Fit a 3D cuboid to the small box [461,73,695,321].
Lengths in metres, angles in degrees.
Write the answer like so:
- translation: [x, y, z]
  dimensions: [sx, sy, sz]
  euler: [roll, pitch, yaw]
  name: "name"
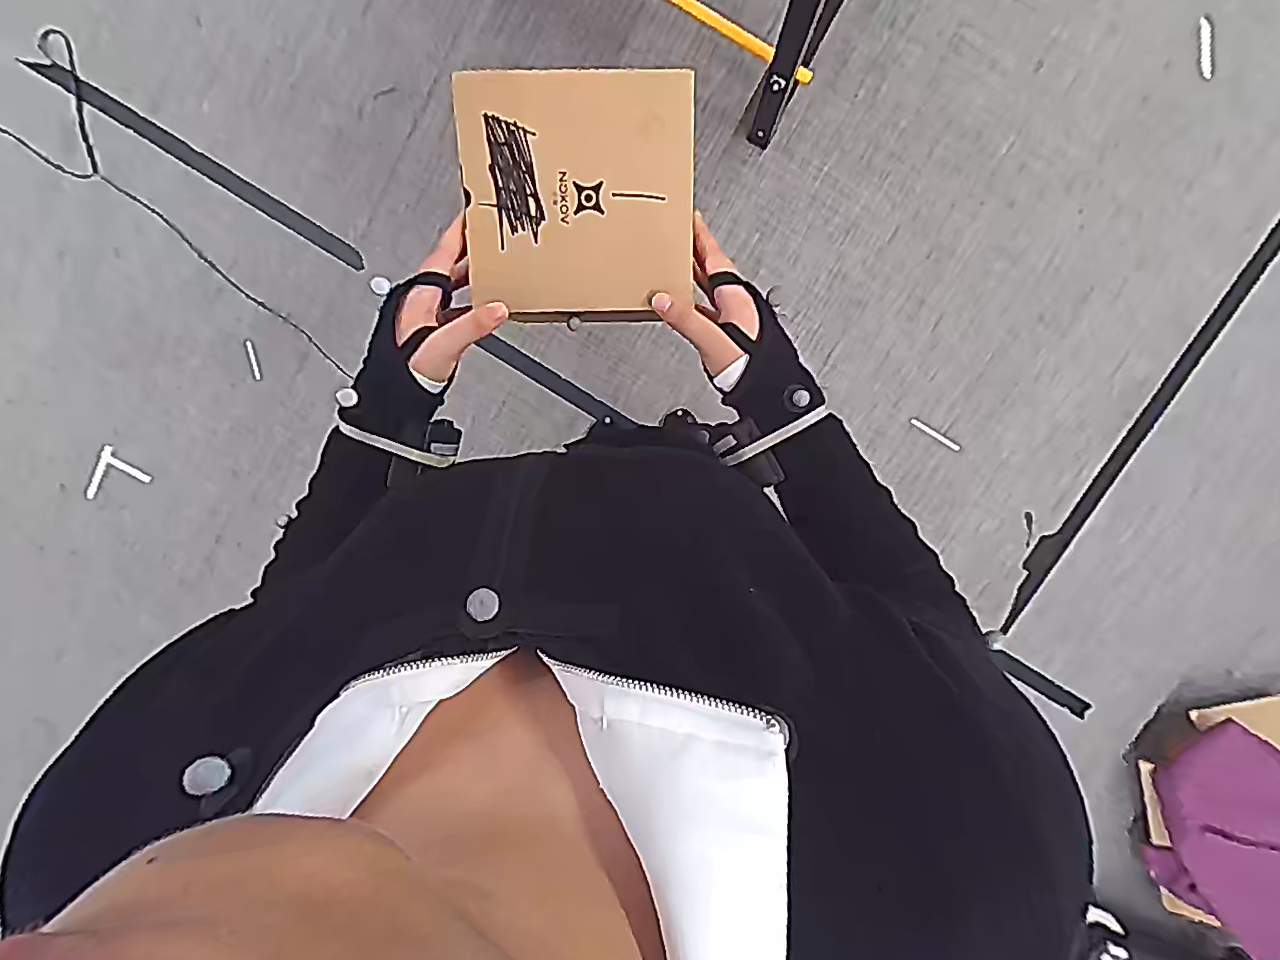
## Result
- translation: [-0.045, -0.235, 0.492]
  dimensions: [0.179, 0.176, 0.168]
  euler: [0, 103, 0]
  name: "small box"
